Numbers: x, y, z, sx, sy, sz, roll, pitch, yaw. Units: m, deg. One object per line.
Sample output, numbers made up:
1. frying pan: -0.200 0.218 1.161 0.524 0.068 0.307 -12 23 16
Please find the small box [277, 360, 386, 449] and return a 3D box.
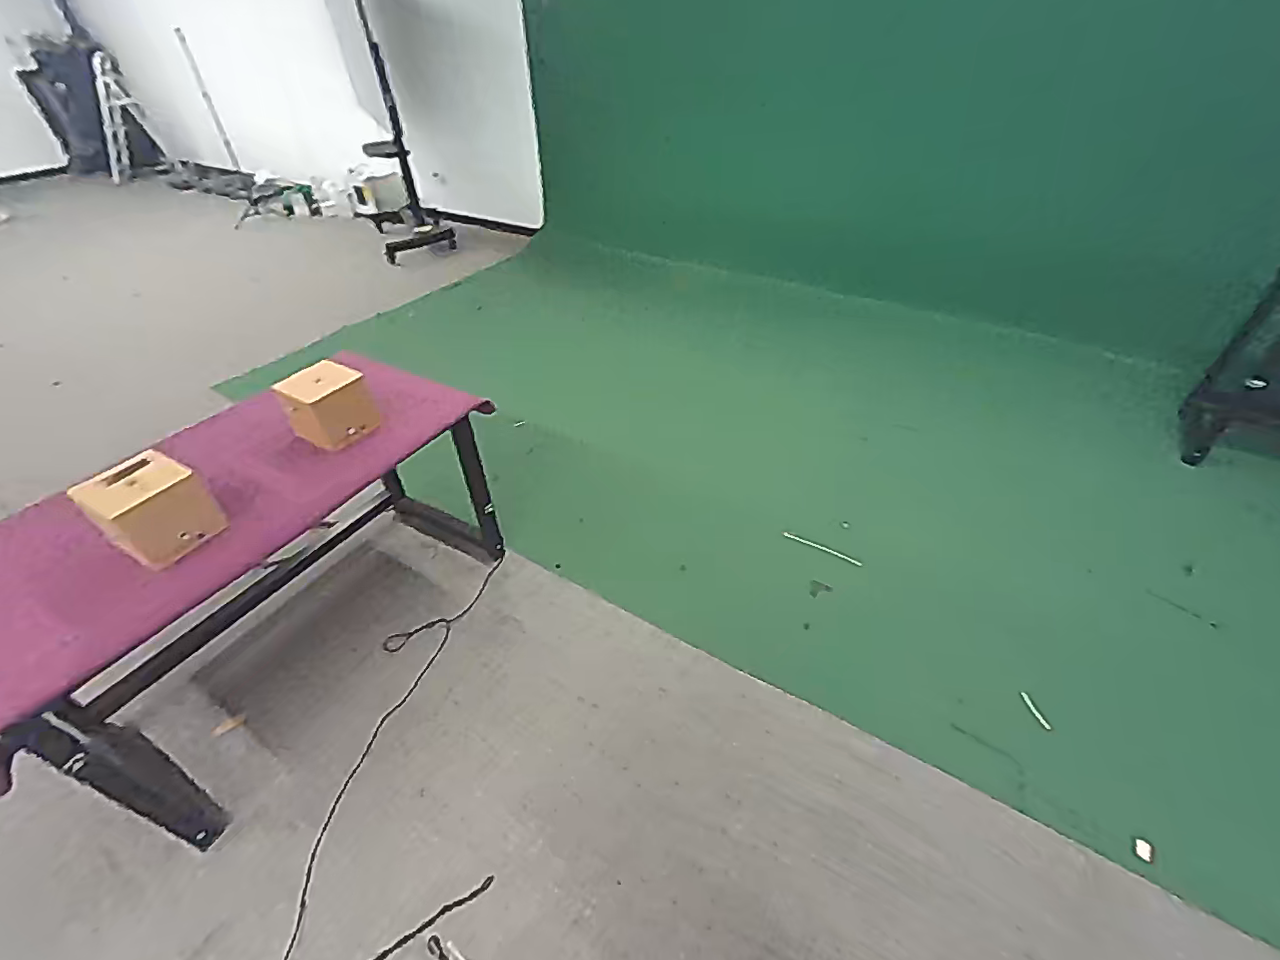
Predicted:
1. small box: -0.851 -0.209 1.506 0.179 0.176 0.168 22 48 25
